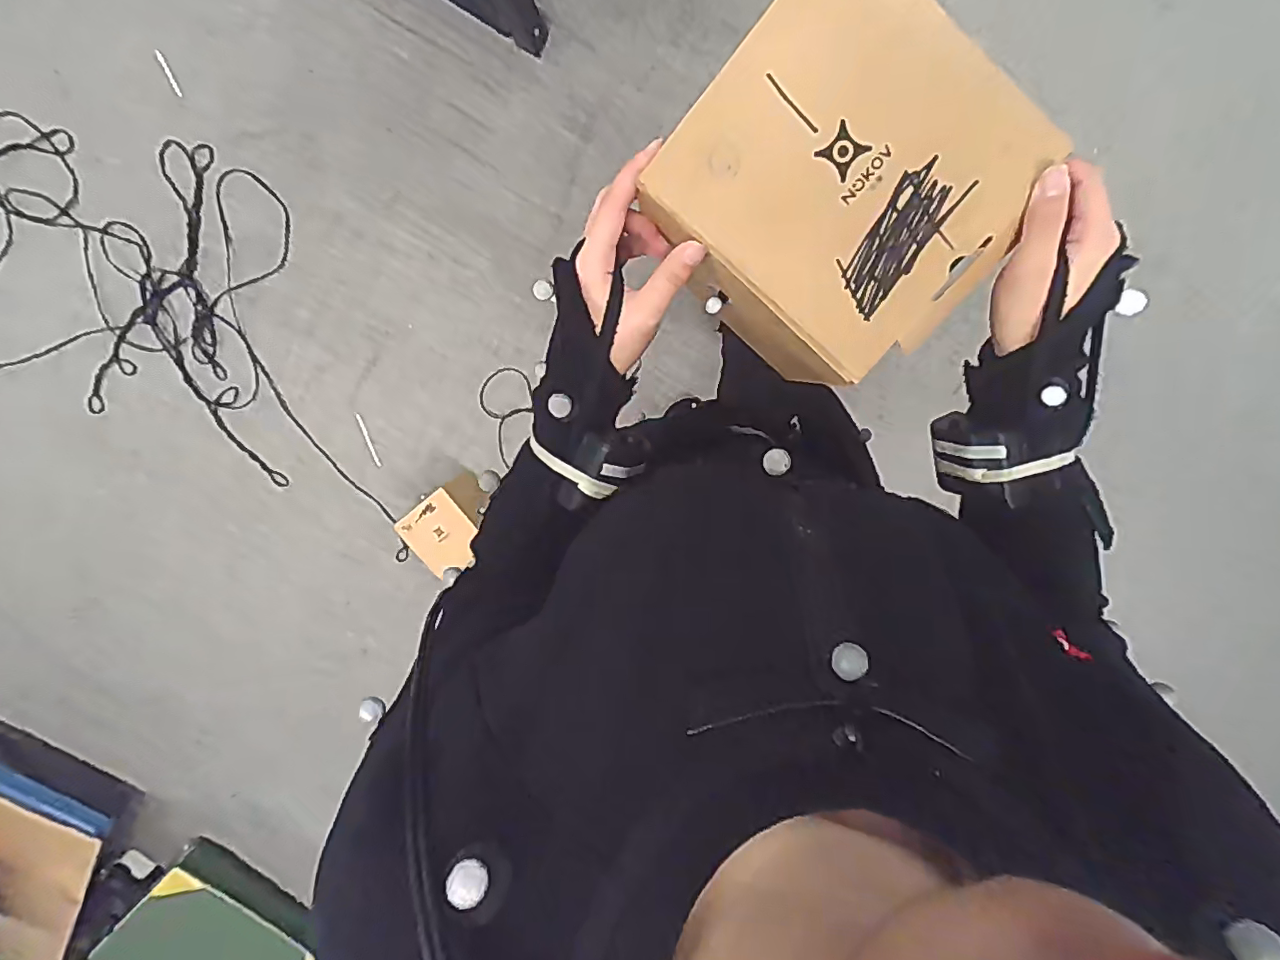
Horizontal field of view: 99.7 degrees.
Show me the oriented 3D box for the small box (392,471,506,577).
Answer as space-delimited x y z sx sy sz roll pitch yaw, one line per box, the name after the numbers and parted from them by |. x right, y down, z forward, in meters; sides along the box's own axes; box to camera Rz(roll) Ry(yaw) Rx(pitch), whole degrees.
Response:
-0.462 0.102 1.340 0.168 0.176 0.179 -36 100 12 | small box
